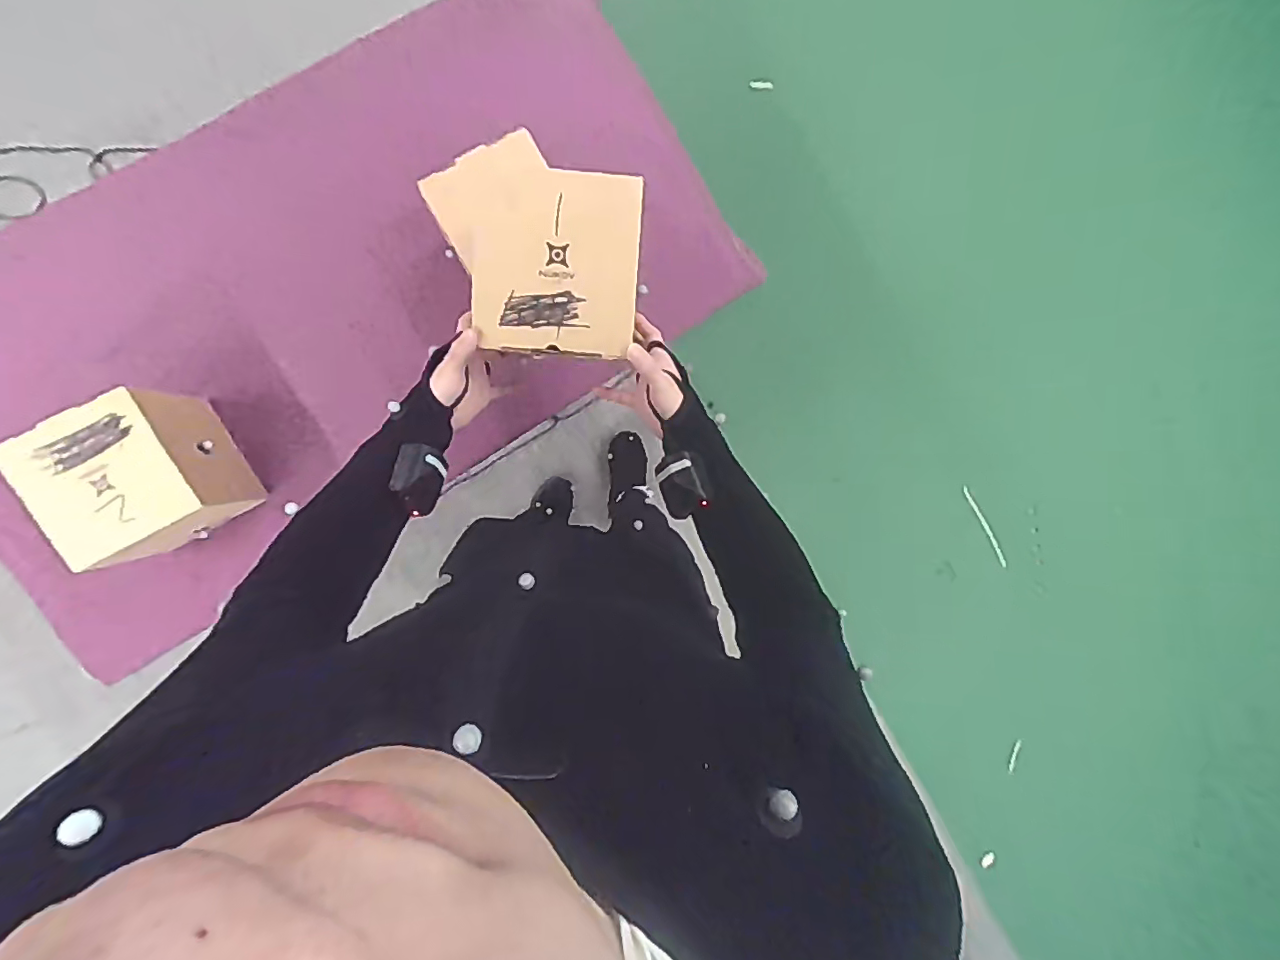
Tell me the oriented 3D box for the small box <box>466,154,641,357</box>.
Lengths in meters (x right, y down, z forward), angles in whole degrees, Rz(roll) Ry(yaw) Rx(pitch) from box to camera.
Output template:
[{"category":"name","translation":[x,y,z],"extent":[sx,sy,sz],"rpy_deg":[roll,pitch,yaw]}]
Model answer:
[{"category":"small box","translation":[-0.091,-0.236,0.616],"extent":[0.168,0.176,0.179],"rpy_deg":[5,101,-4]}]

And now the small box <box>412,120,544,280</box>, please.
[{"category":"small box","translation":[-0.199,-0.368,0.795],"extent":[0.168,0.176,0.179],"rpy_deg":[-30,97,-5]}]
